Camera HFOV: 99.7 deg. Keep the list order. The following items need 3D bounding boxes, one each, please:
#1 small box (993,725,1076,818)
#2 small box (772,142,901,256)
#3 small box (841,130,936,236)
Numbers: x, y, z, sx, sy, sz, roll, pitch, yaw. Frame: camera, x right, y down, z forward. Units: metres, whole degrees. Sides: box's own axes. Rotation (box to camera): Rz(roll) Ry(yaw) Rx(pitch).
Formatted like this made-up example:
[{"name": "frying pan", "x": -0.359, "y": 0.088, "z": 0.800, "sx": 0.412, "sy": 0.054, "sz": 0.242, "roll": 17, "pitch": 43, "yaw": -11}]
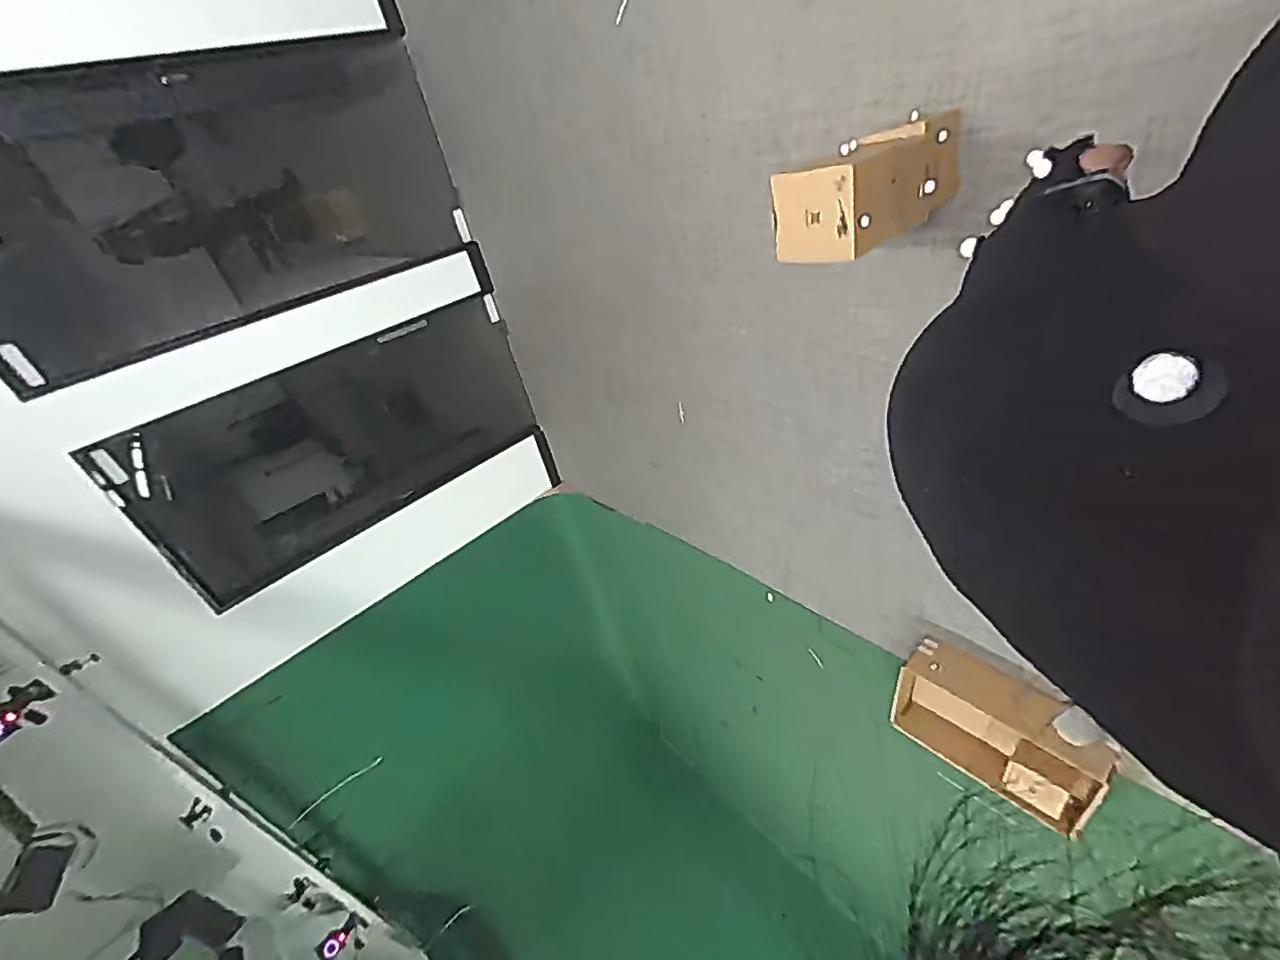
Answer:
[{"name": "small box", "x": 1.312, "y": 0.963, "z": 1.799, "sx": 0.168, "sy": 0.176, "sz": 0.179, "roll": 24, "pitch": 138, "yaw": 43}, {"name": "small box", "x": 0.388, "y": -0.554, "z": 1.074, "sx": 0.179, "sy": 0.176, "sz": 0.168, "roll": 24, "pitch": 139, "yaw": 44}, {"name": "small box", "x": 0.503, "y": -0.632, "z": 1.161, "sx": 0.179, "sy": 0.176, "sz": 0.168, "roll": 22, "pitch": 138, "yaw": 43}]
